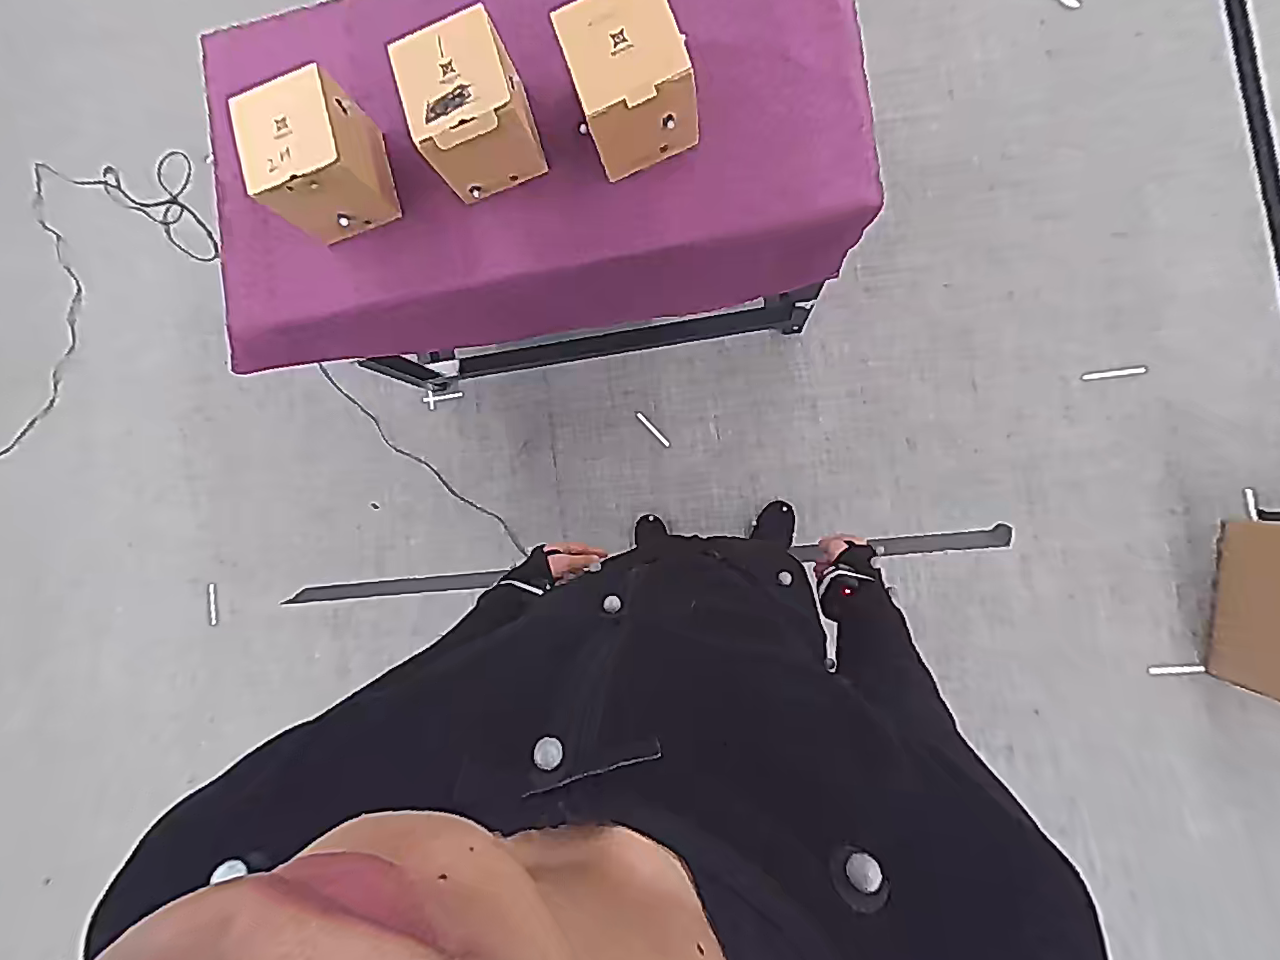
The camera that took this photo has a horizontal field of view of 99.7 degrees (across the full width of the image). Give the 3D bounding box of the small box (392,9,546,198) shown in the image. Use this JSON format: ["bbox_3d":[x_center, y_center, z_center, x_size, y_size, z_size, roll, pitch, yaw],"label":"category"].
[{"bbox_3d":[-0.273,-0.605,0.901,0.168,0.176,0.179,-18,84,7],"label":"small box"}]

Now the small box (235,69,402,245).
[{"bbox_3d":[-0.548,-0.547,0.939,0.168,0.176,0.179,-16,86,8],"label":"small box"}]

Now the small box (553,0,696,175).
[{"bbox_3d":[-0.014,-0.627,0.863,0.168,0.176,0.179,-20,84,7],"label":"small box"}]
